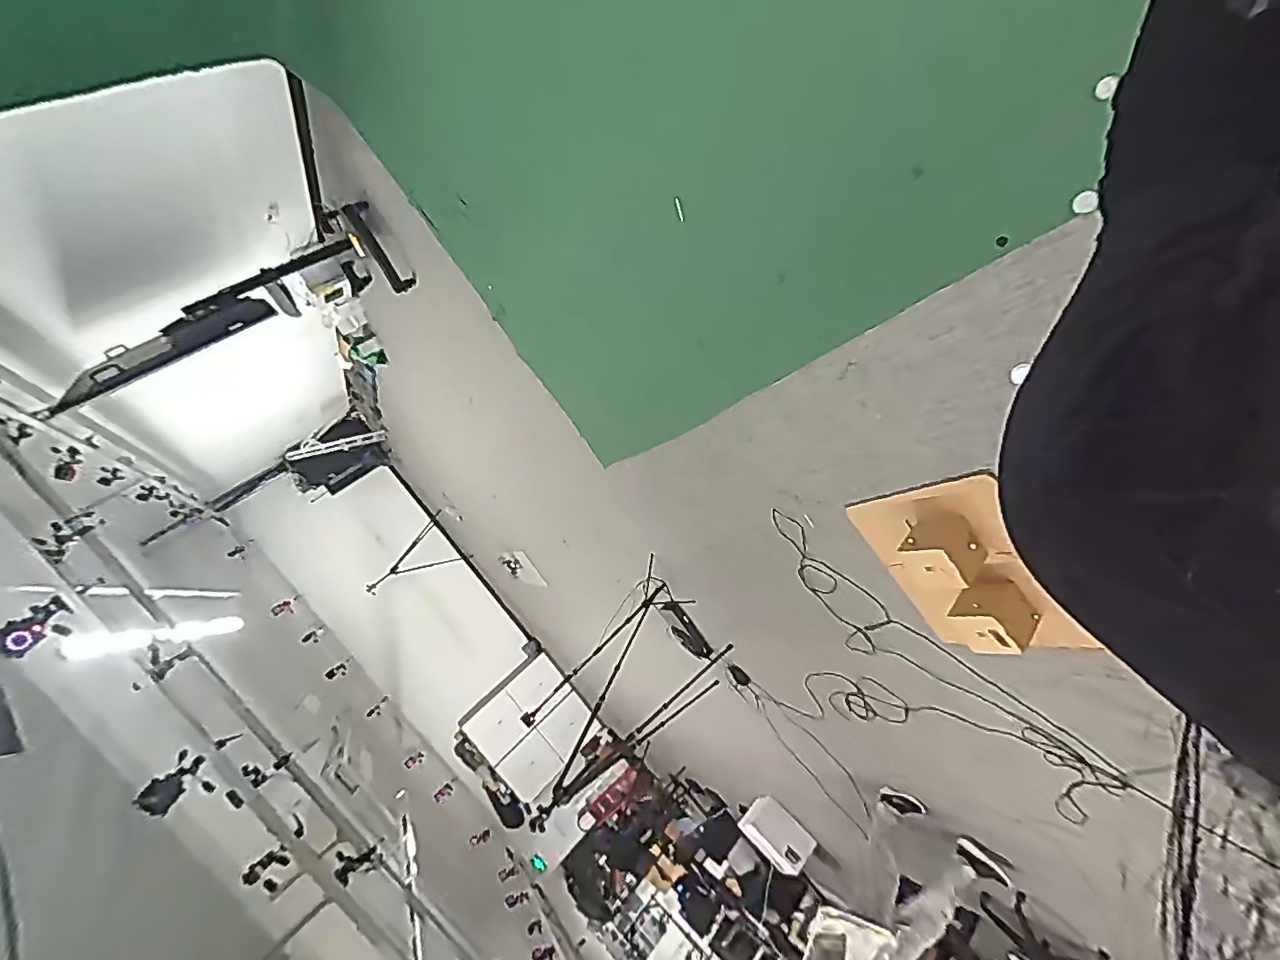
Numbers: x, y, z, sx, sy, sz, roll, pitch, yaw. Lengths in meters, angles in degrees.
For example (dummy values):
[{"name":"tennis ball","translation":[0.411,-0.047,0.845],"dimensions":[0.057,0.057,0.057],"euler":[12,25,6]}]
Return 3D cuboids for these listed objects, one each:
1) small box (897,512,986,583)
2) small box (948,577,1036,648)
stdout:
[{"name":"small box","translation":[1.017,0.228,1.819],"dimensions":[0.168,0.176,0.179],"euler":[53,152,-8]},{"name":"small box","translation":[1.195,0.444,1.824],"dimensions":[0.168,0.176,0.179],"euler":[50,154,-3]}]
